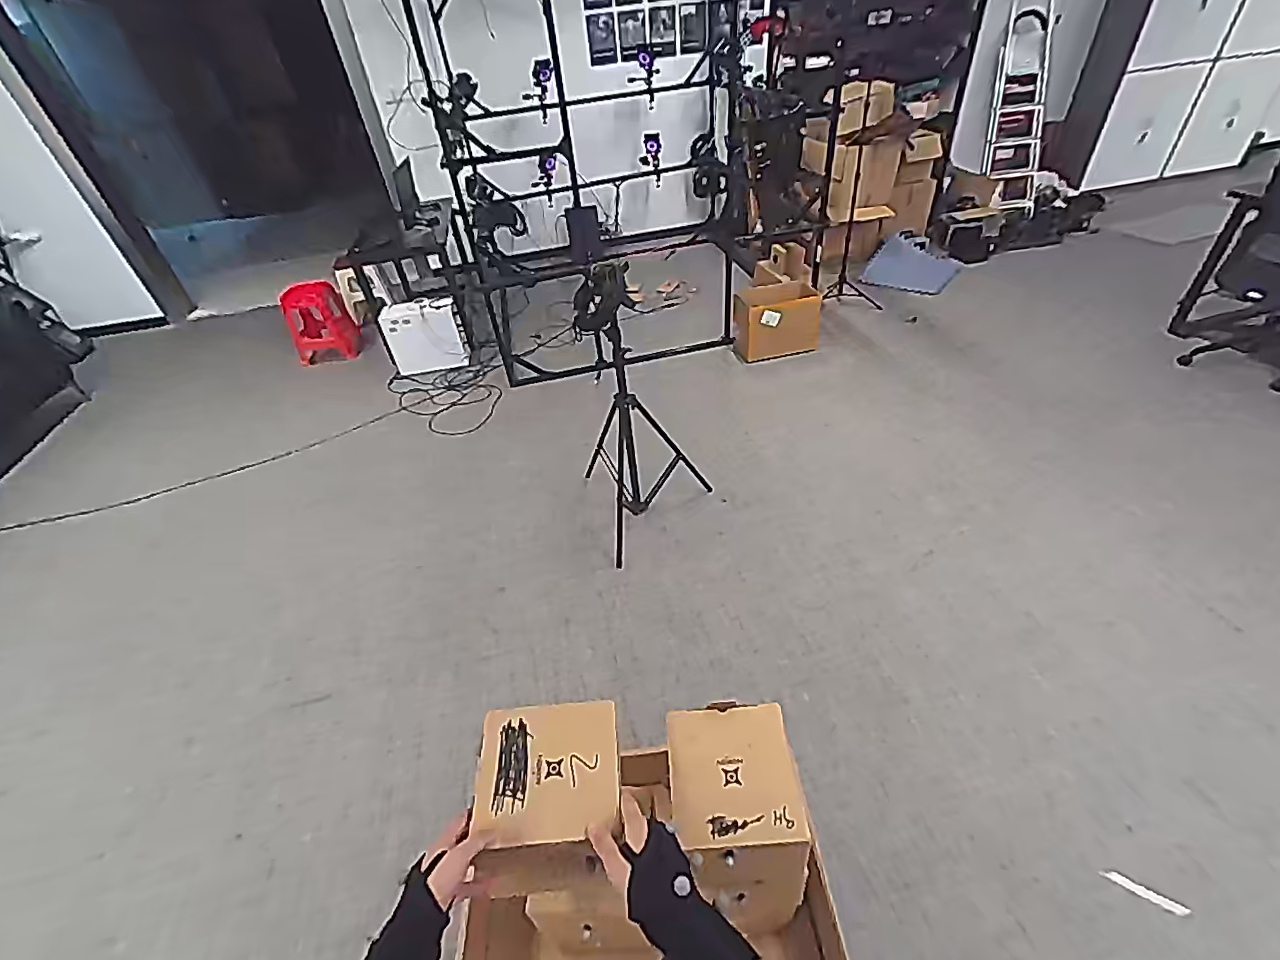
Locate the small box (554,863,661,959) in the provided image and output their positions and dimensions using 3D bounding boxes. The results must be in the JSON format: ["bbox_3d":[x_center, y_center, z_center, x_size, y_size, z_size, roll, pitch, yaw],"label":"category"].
[{"bbox_3d":[-0.054,0.721,0.957,0.179,0.176,0.168,-5,39,0],"label":"small box"}]

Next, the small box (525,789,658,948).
[{"bbox_3d":[-0.062,0.604,0.842,0.179,0.176,0.168,-2,39,5],"label":"small box"}]
